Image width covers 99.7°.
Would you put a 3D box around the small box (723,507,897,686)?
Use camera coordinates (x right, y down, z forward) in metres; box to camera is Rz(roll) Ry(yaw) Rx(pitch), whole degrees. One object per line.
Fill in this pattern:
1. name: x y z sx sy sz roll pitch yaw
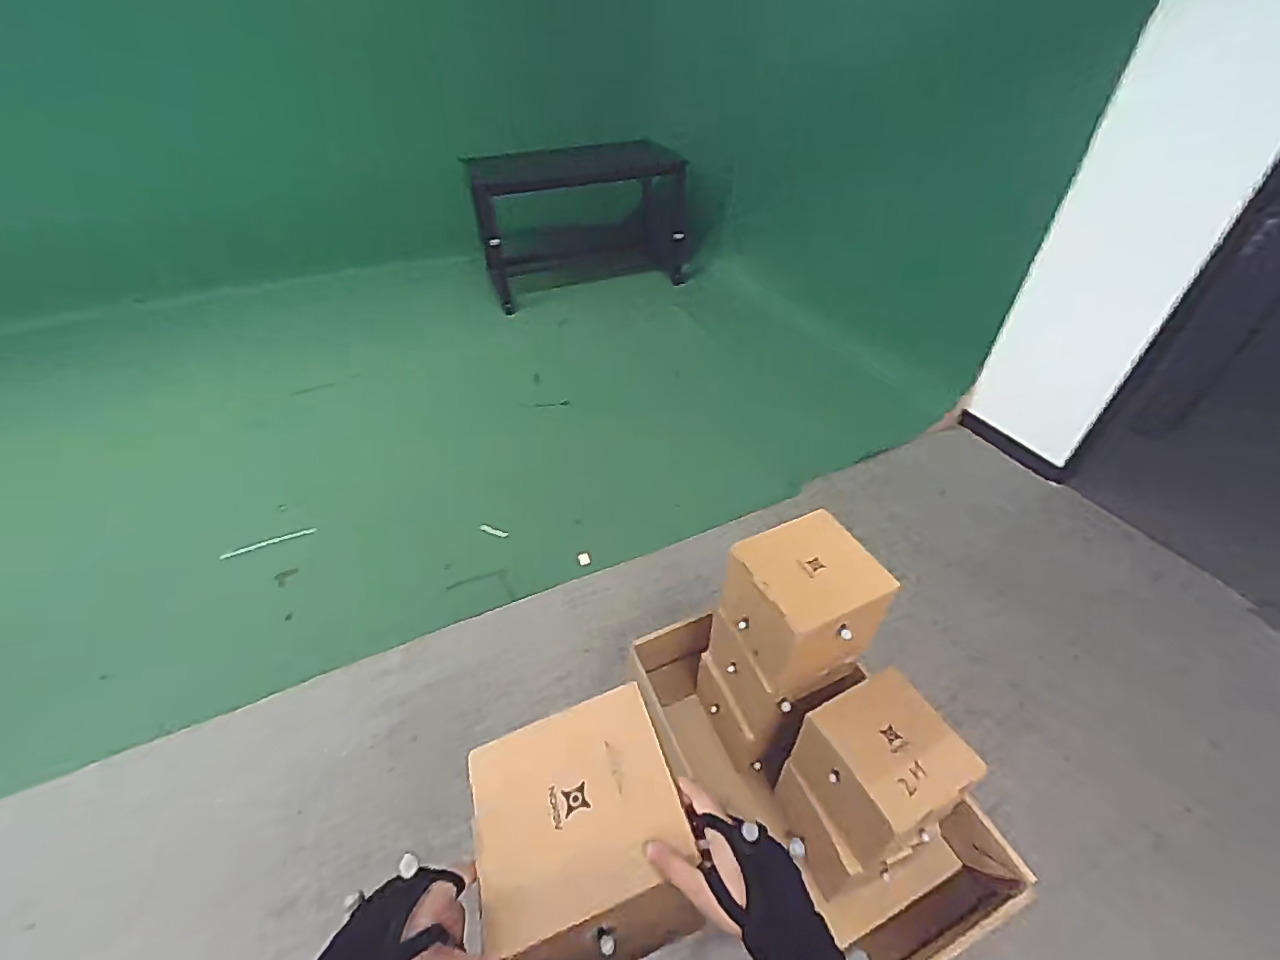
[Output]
1. small box: 0.242 0.176 0.820 0.179 0.176 0.168 -20 47 -18
